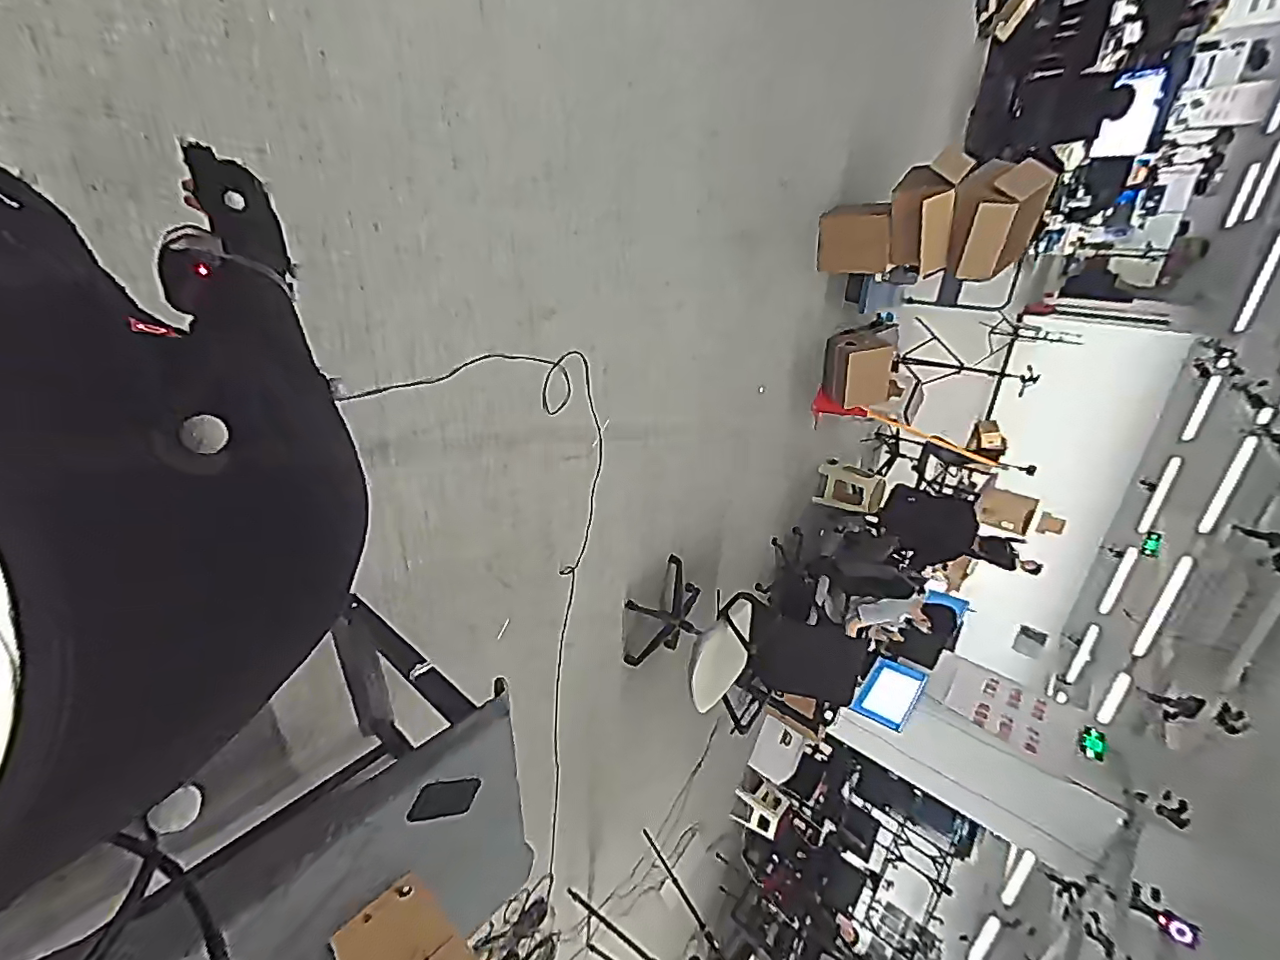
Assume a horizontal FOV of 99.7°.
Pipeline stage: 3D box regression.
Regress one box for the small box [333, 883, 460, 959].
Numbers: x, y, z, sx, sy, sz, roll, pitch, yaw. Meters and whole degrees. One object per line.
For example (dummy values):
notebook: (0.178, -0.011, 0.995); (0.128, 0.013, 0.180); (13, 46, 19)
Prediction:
small box: (-0.455, 0.922, 1.027); (0.168, 0.176, 0.179); (-23, 125, -45)
